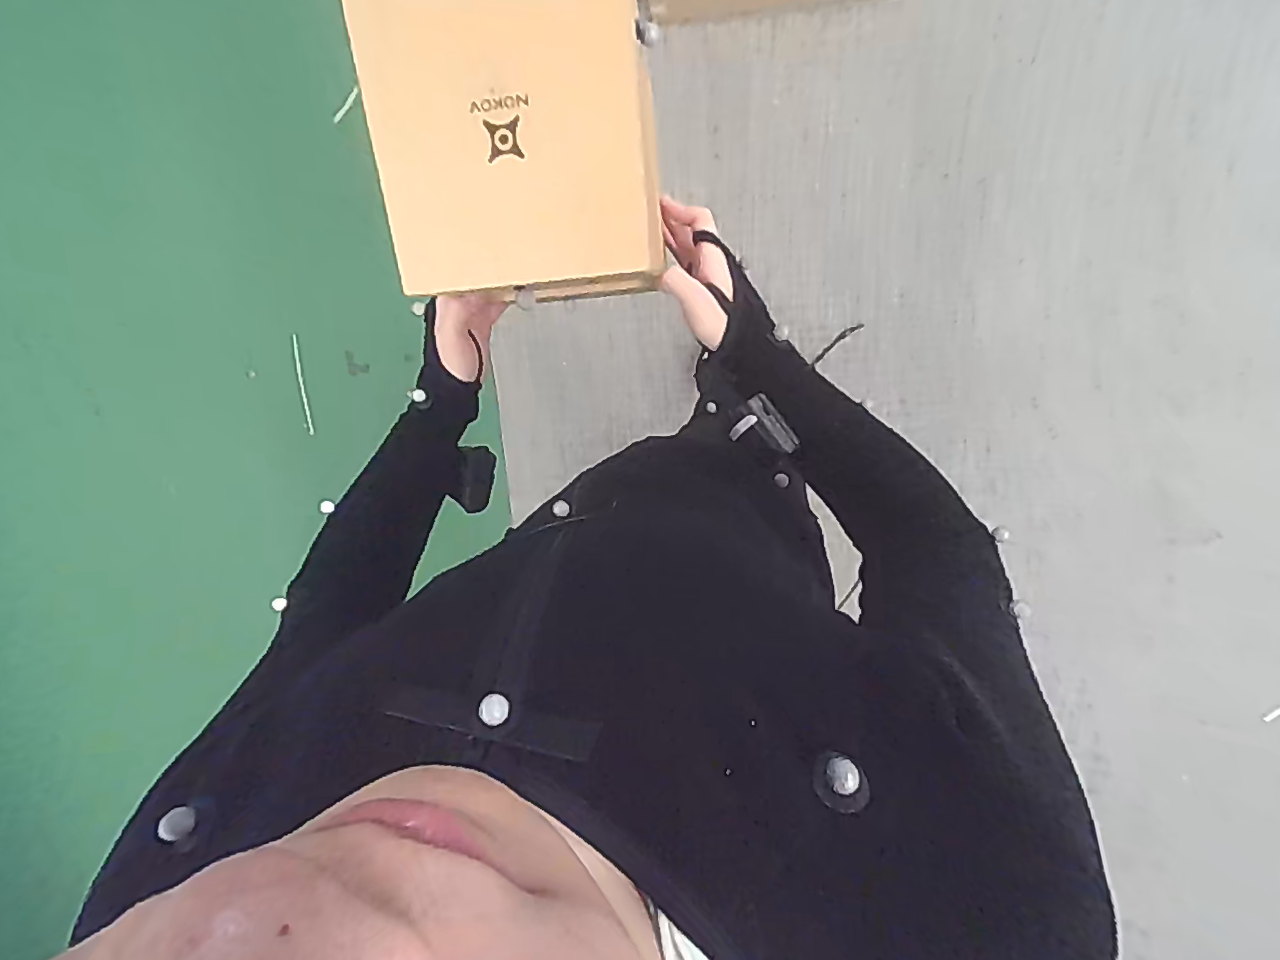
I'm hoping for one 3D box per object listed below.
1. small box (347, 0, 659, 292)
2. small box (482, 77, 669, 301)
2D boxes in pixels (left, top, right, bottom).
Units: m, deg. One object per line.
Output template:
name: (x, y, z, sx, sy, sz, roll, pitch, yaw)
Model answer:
small box: (-0.076, -0.236, 0.401, 0.168, 0.176, 0.179, -3, 106, 6)
small box: (-0.063, -0.278, 0.557, 0.179, 0.176, 0.168, -4, 107, 5)
